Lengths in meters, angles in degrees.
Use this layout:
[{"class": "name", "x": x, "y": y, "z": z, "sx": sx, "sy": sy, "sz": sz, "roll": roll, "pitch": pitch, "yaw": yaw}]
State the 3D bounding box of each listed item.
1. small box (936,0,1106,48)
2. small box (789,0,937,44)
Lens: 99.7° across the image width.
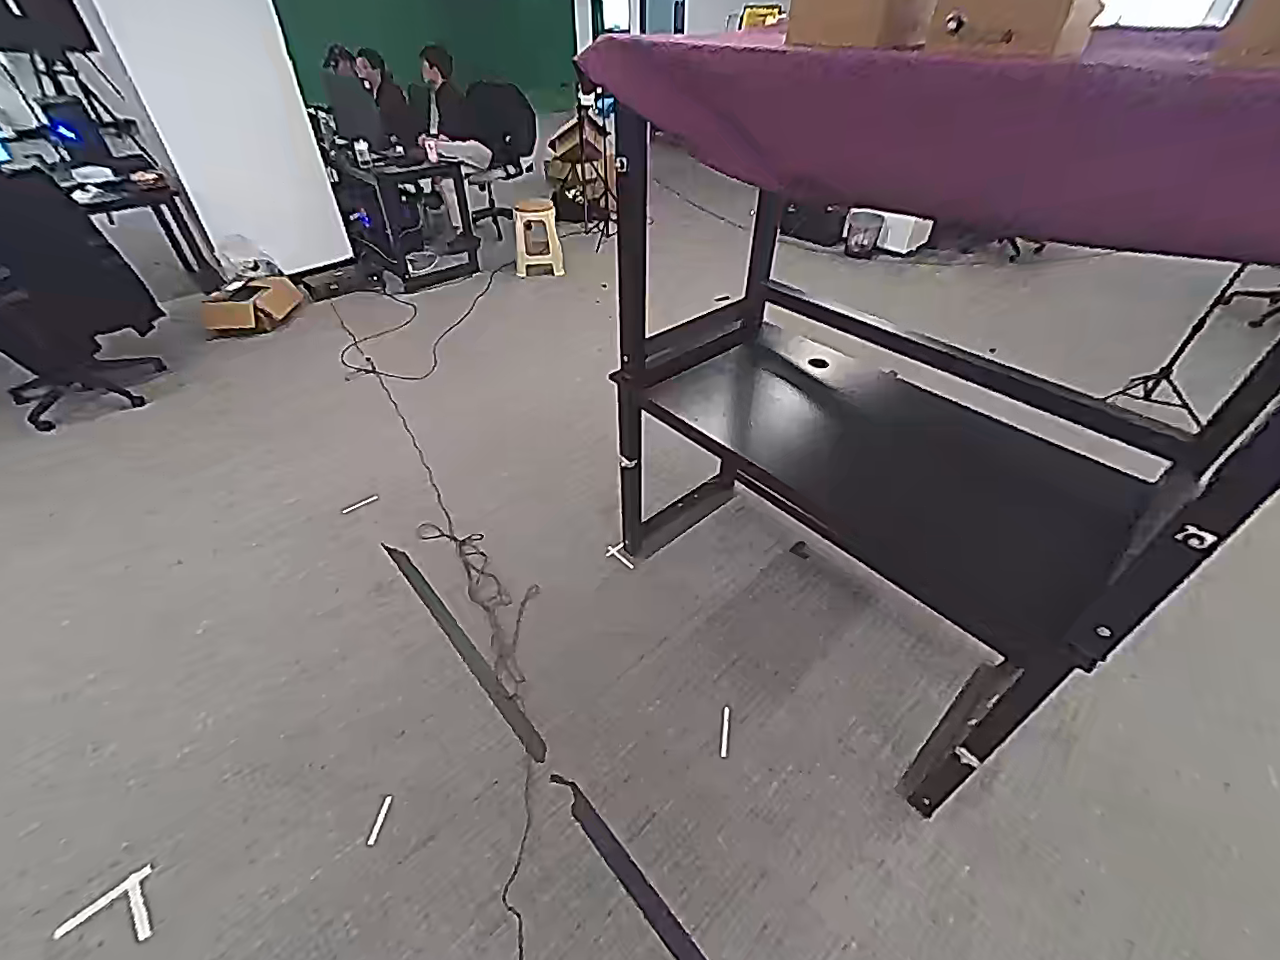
[{"class": "small box", "x": 0.516, "y": -0.671, "z": 0.702, "sx": 0.168, "sy": 0.176, "sz": 0.179, "roll": 32, "pitch": 49, "yaw": 31}, {"class": "small box", "x": 0.360, "y": -0.794, "z": 0.844, "sx": 0.168, "sy": 0.176, "sz": 0.179, "roll": -30, "pitch": 49, "yaw": -31}]
